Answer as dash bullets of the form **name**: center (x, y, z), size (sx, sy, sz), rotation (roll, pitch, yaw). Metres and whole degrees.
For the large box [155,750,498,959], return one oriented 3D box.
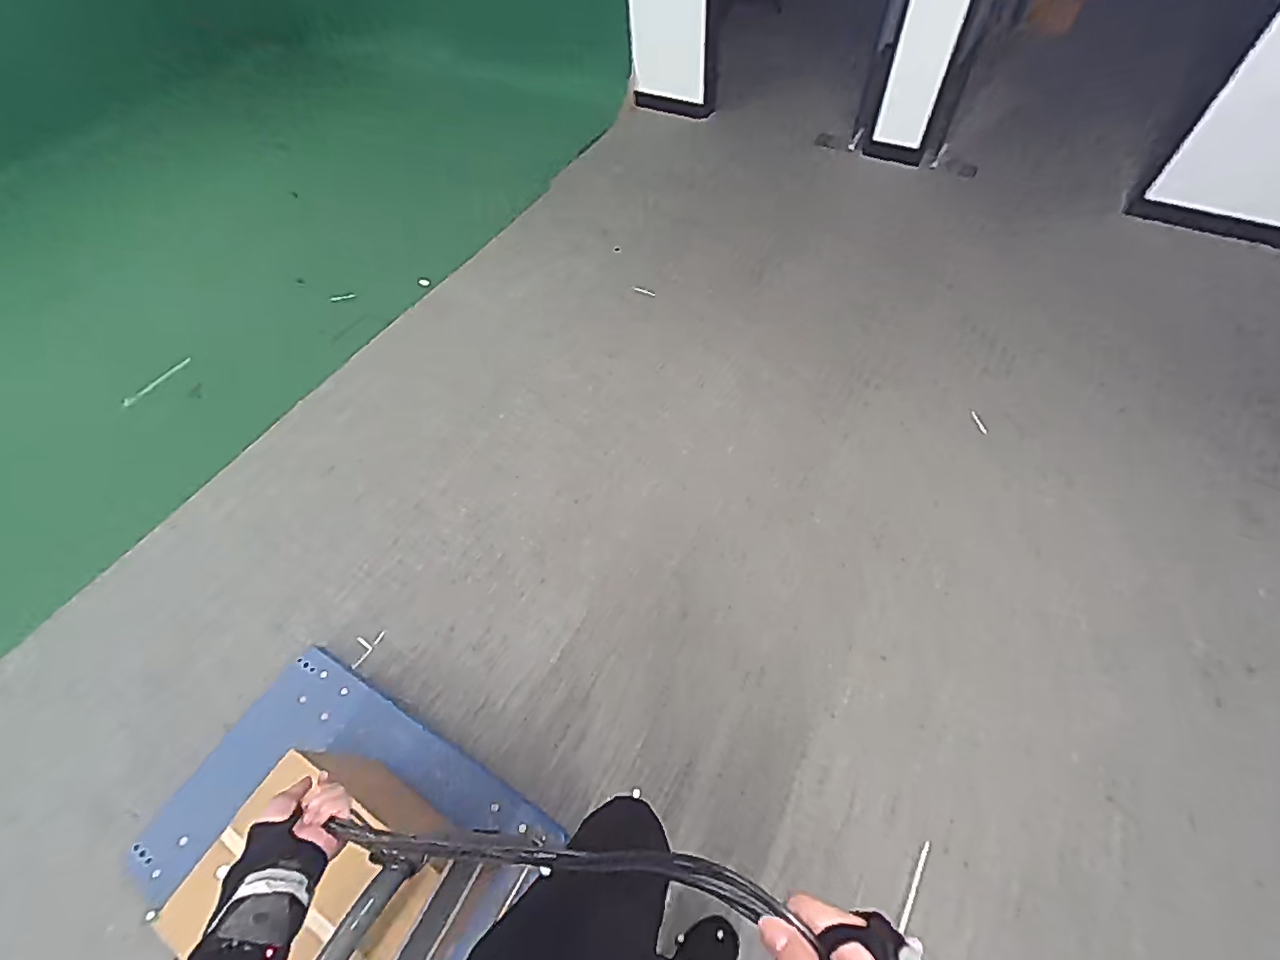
- **large box**: center (-0.553, 0.779, 1.027), size (0.408, 0.320, 0.320), rotation (24, 63, 20)
